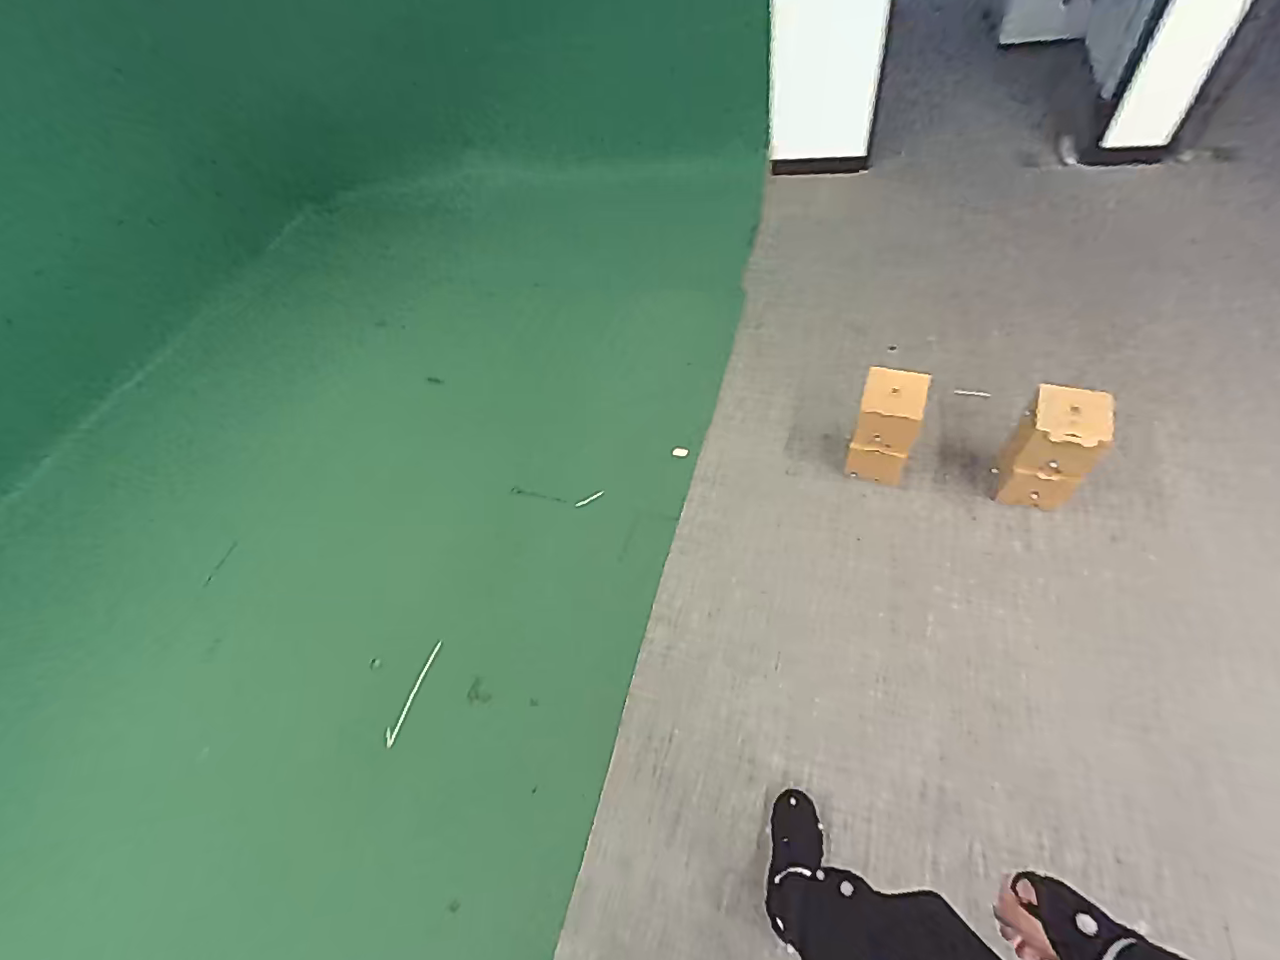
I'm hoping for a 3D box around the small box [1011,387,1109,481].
[{"bbox_3d":[1.150,-0.125,1.488,0.168,0.176,0.179,15,61,22],"label":"small box"}]

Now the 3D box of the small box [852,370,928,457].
[{"bbox_3d":[0.748,-0.199,1.629,0.168,0.176,0.179,14,61,20],"label":"small box"}]

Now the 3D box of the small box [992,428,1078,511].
[{"bbox_3d":[1.176,-0.027,1.618,0.168,0.176,0.179,11,60,19],"label":"small box"}]

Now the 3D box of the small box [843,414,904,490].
[{"bbox_3d":[0.770,-0.090,1.770,0.168,0.176,0.179,14,60,20],"label":"small box"}]
